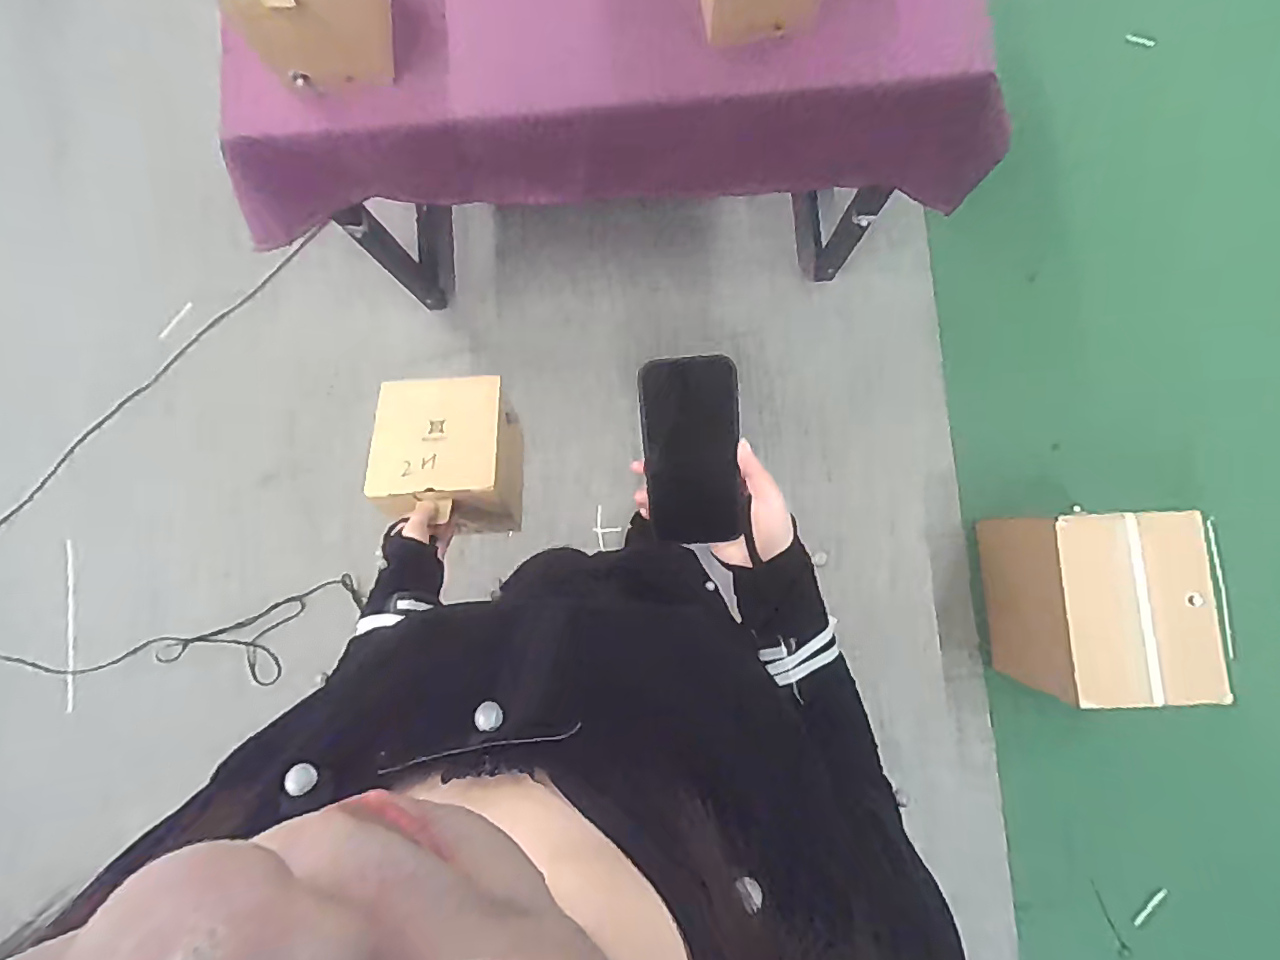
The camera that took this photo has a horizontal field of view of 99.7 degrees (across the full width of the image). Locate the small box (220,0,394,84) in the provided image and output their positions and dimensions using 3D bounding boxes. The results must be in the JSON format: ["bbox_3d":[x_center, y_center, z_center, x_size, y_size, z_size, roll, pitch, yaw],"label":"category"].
[{"bbox_3d":[-0.472,-0.709,0.778,0.168,0.176,0.179,-5,84,1],"label":"small box"}]

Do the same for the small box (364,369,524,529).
[{"bbox_3d":[-0.266,-0.039,0.781,0.168,0.176,0.179,-2,67,-1],"label":"small box"}]
